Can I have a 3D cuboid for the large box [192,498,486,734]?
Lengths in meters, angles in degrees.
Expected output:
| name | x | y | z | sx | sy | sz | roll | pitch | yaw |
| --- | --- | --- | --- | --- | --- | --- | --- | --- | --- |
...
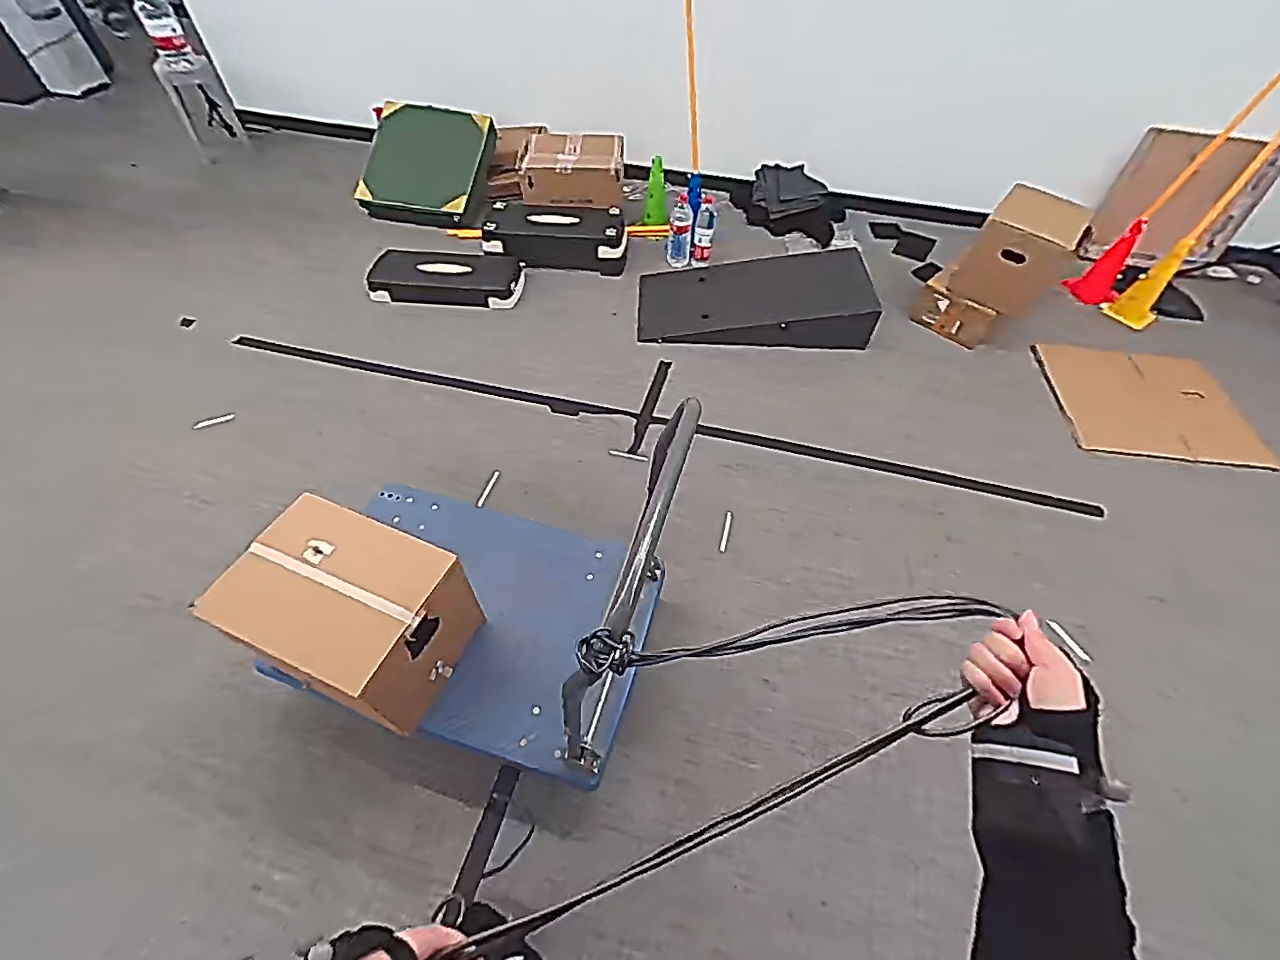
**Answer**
| name | x | y | z | sx | sy | sz | roll | pitch | yaw |
| --- | --- | --- | --- | --- | --- | --- | --- | --- | --- |
| large box | -0.614 | 0.301 | 1.186 | 0.408 | 0.320 | 0.320 | 19 | 54 | 13 |
